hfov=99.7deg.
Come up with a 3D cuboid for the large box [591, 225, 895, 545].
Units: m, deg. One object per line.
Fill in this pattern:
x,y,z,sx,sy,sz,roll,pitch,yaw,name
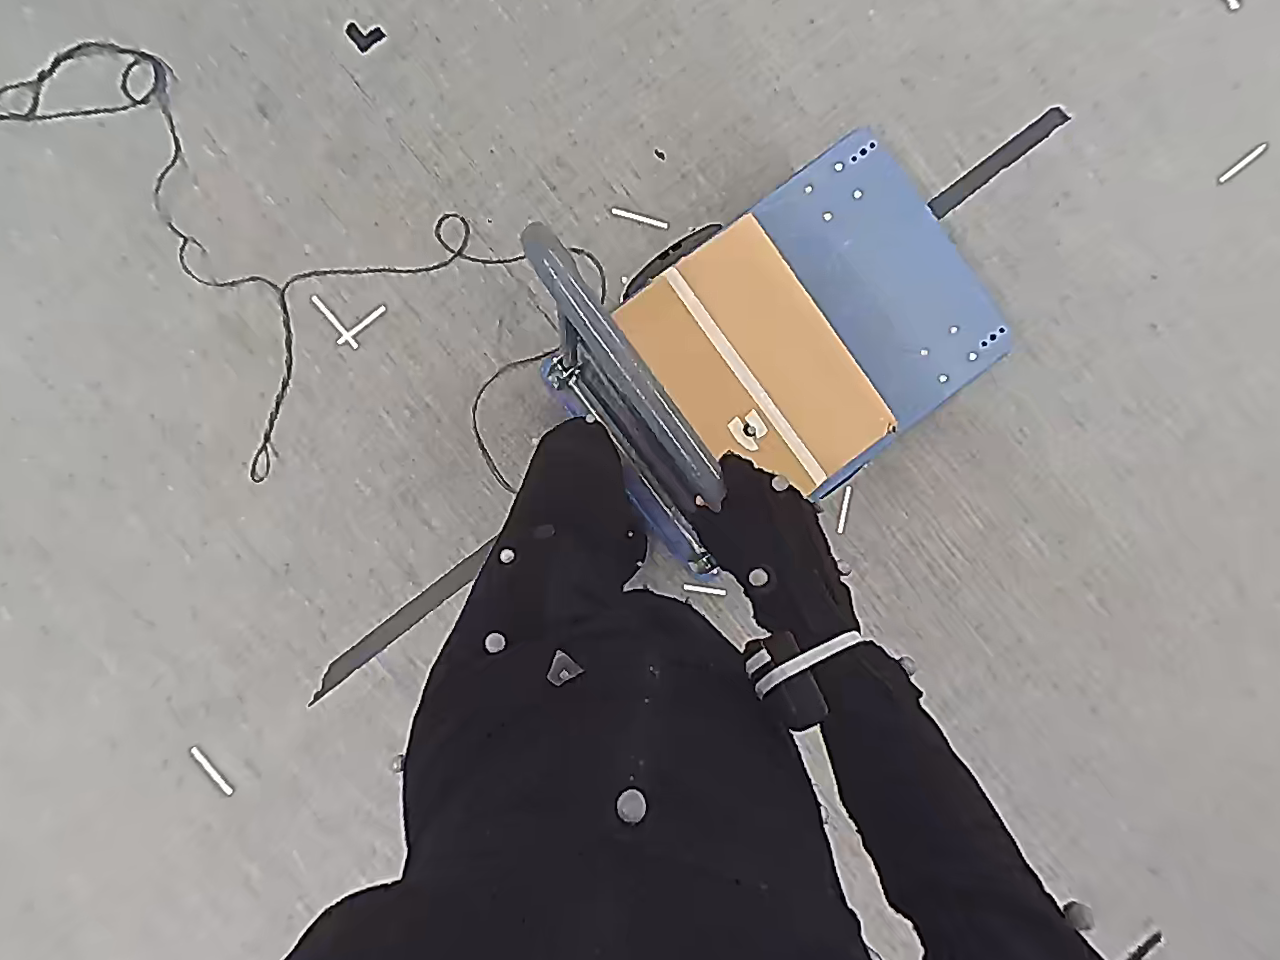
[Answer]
0.150,-0.149,0.975,0.320,0.320,0.408,-37,94,-1,large box
